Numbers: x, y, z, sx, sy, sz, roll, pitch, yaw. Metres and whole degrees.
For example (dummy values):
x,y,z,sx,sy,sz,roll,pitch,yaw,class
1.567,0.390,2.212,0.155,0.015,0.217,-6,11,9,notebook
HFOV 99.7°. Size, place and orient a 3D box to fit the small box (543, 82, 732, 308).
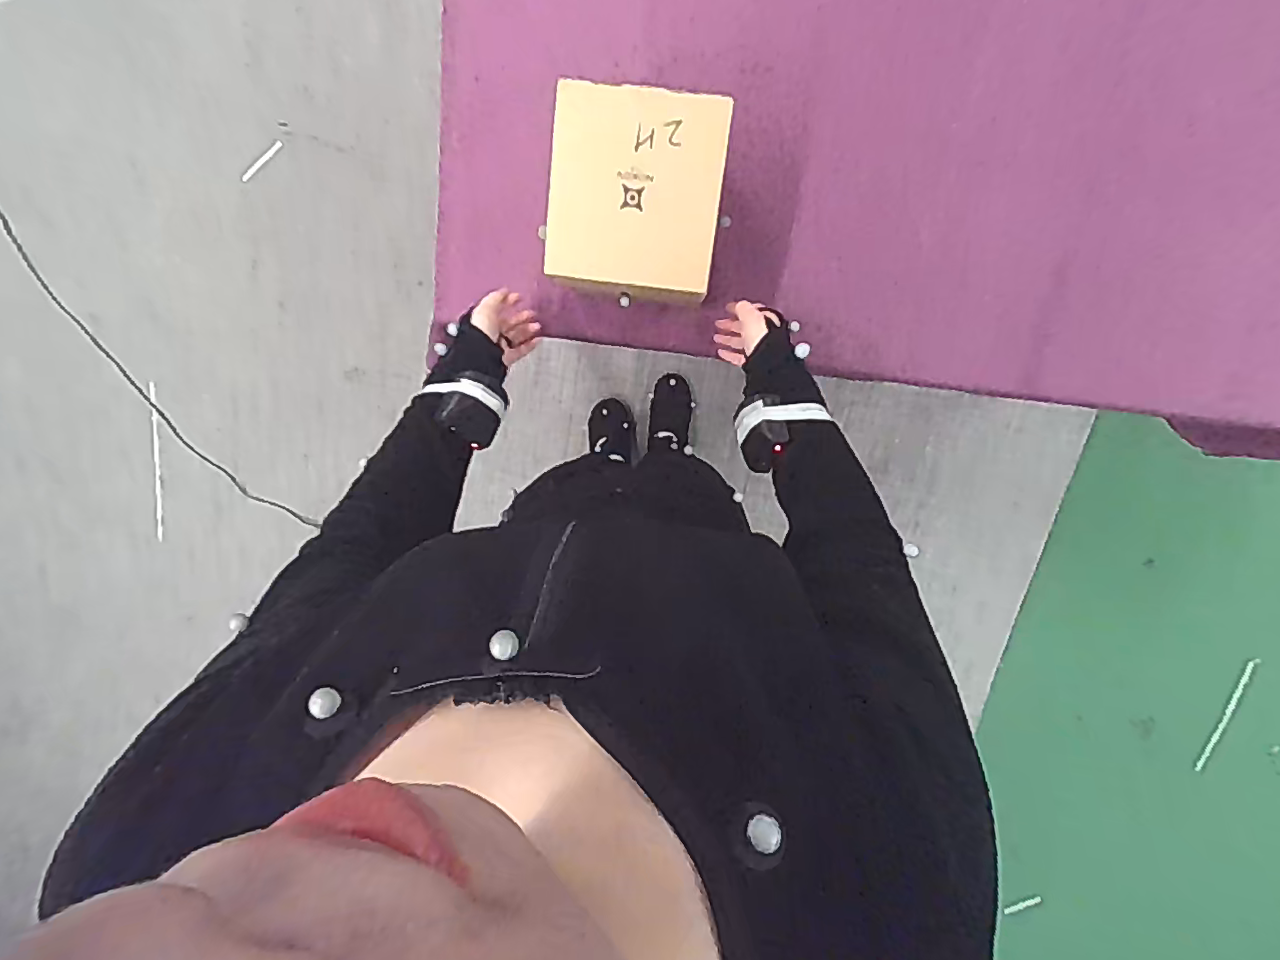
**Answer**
x,y,z,sx,sy,sz,roll,pitch,yaw,class
-0.001,-0.293,0.597,0.168,0.176,0.179,8,103,1,small box
